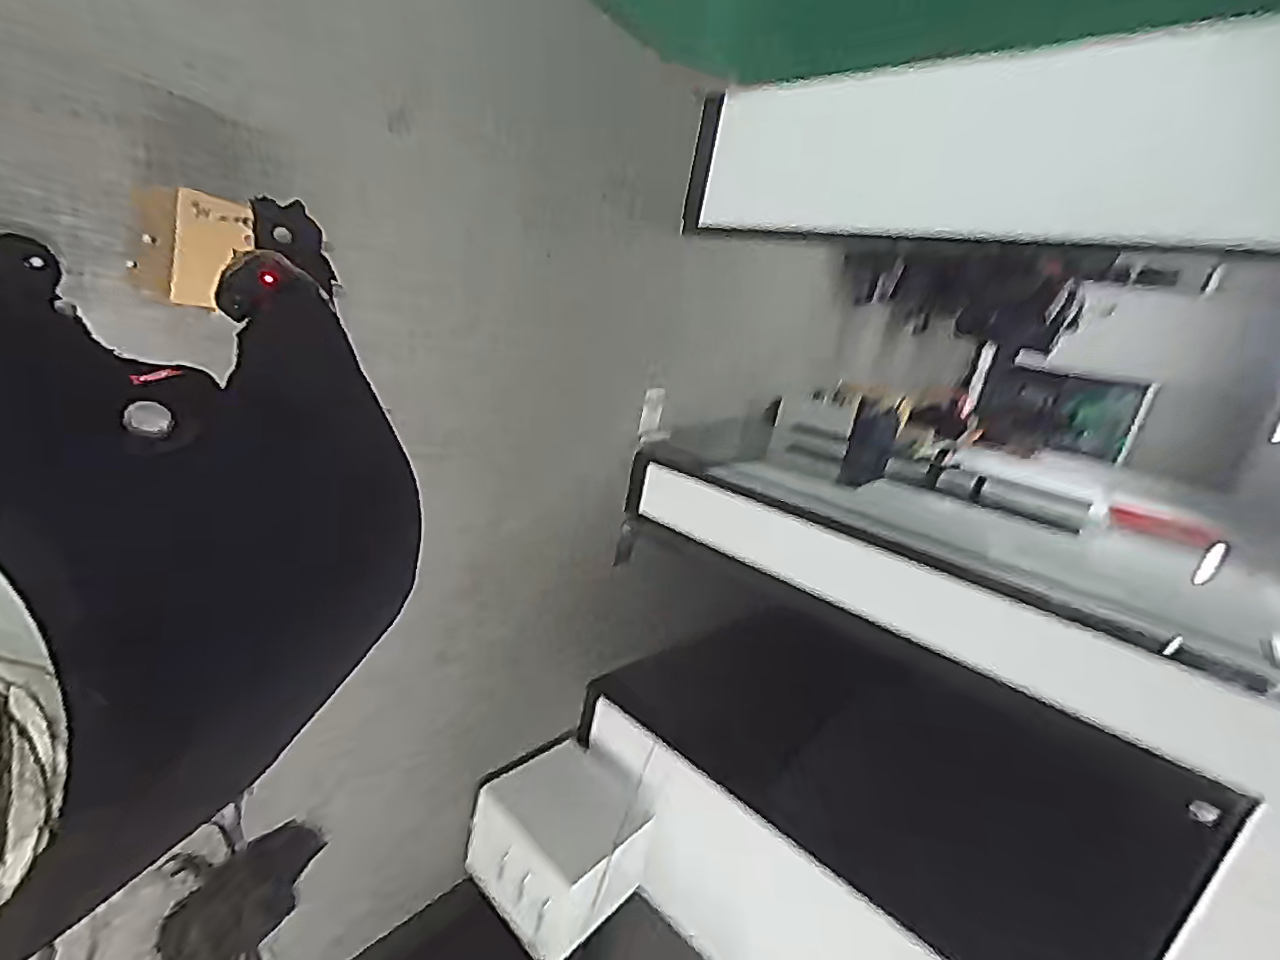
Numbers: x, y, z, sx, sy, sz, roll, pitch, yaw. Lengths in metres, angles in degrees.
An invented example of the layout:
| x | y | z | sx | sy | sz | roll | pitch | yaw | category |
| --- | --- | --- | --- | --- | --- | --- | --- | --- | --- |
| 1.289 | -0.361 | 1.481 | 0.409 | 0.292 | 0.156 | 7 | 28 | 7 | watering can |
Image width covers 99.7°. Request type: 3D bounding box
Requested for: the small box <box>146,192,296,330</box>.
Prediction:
| x | y | z | sx | sy | sz | roll | pitch | yaw | category |
| --- | --- | --- | --- | --- | --- | --- | --- | --- | --- |
| -0.731 | -0.377 | 0.941 | 0.168 | 0.176 | 0.179 | 1 | 107 | -53 | small box |

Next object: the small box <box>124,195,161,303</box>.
| x | y | z | sx | sy | sz | roll | pitch | yaw | category |
| --- | --- | --- | --- | --- | --- | --- | --- | --- | --- |
| -0.859 | -0.422 | 1.034 | 0.168 | 0.176 | 0.179 | -3 | 108 | -53 | small box |
